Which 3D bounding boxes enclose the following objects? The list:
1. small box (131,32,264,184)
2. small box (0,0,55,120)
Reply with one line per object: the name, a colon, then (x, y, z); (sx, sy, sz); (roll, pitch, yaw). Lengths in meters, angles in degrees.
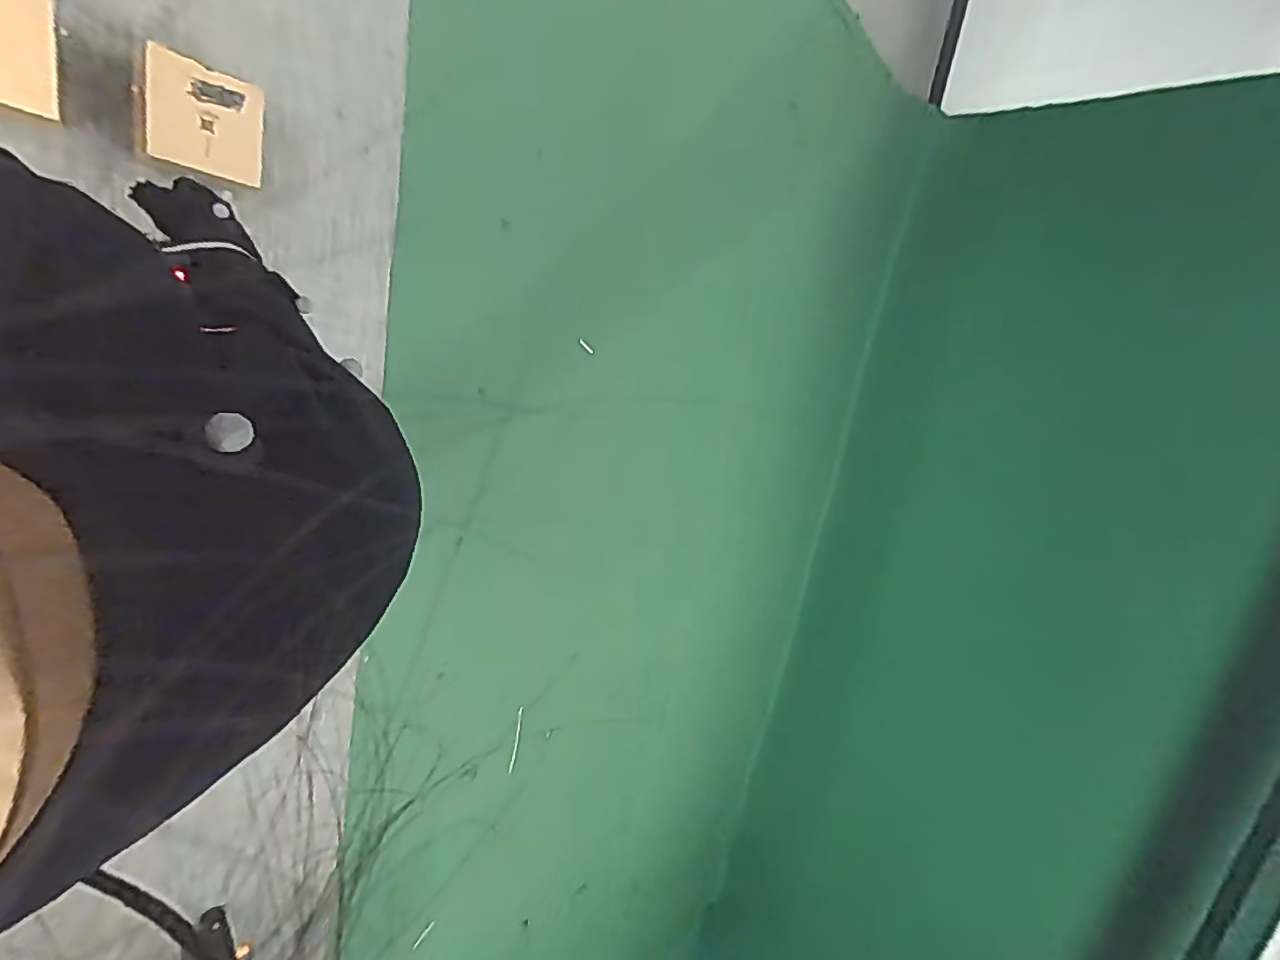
small box: (-0.821, -0.671, 1.002); (0.168, 0.176, 0.179); (-4, 110, -48)
small box: (-0.996, -0.668, 0.805); (0.168, 0.176, 0.179); (-5, 110, -48)
